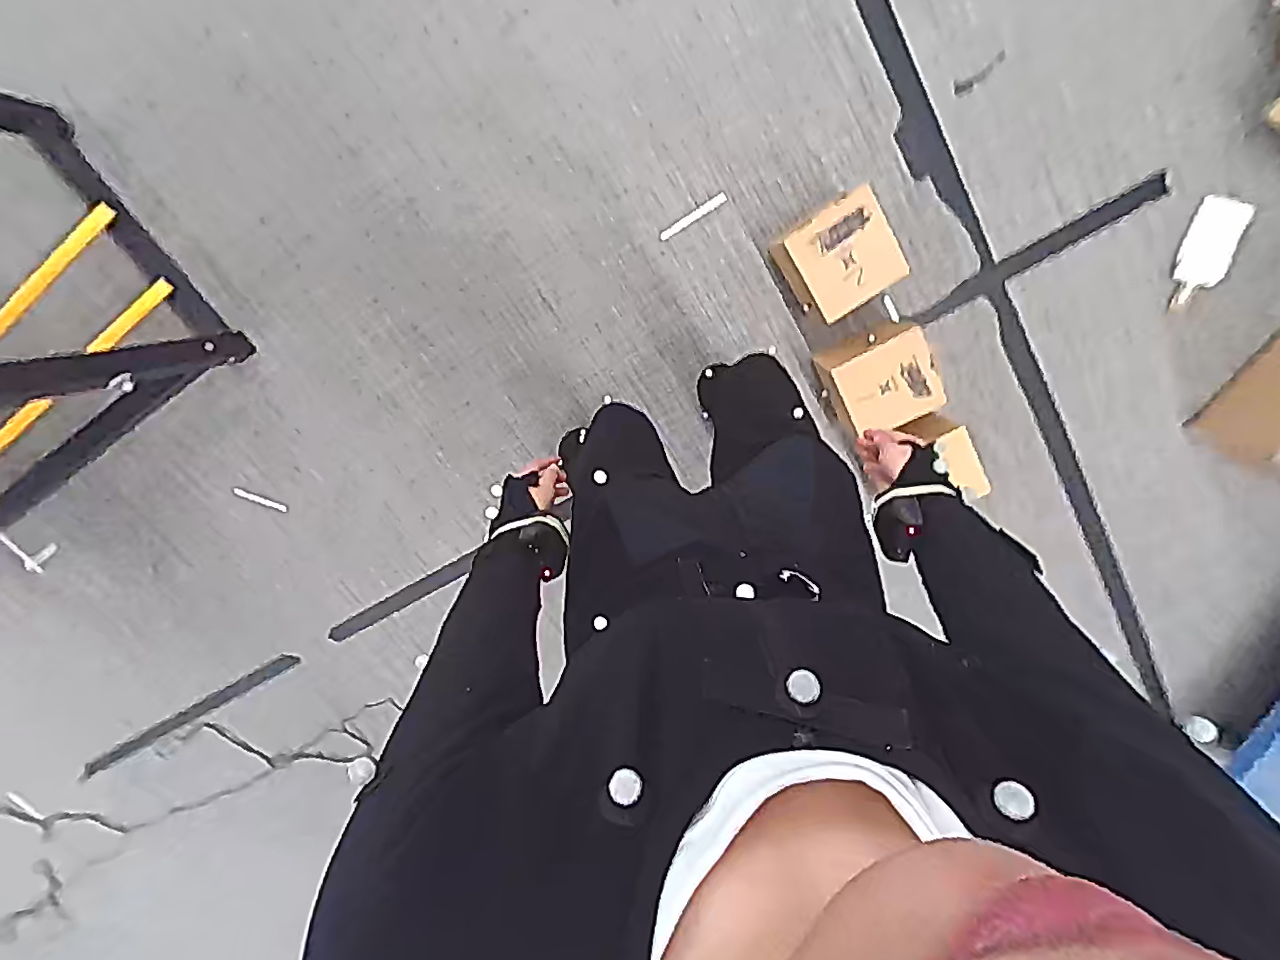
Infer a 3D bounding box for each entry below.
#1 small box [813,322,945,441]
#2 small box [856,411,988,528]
[{"bbox_3d":[0.482,-0.209,1.110,0.179,0.176,0.168,-26,108,14],"label":"small box"},{"bbox_3d":[0.605,-0.030,1.177,0.179,0.176,0.168,-28,107,14],"label":"small box"}]
